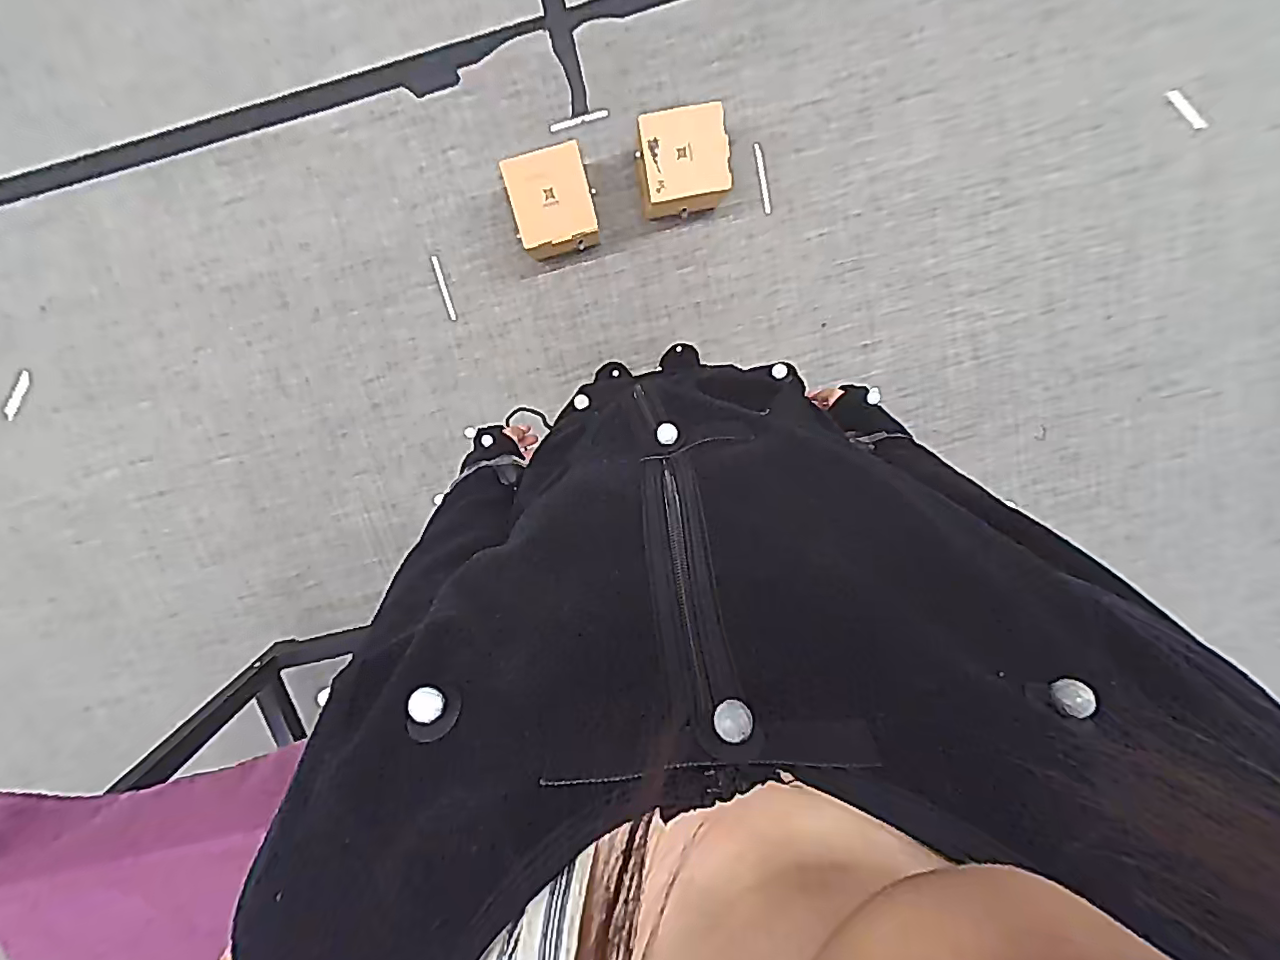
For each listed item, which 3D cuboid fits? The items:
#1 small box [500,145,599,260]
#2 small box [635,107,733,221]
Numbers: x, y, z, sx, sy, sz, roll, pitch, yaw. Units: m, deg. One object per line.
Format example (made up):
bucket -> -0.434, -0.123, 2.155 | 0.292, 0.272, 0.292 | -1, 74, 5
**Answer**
small box -> -0.189, -0.597, 1.191 | 0.168, 0.176, 0.179 | -16, 104, 0
small box -> 0.091, -0.682, 1.184 | 0.179, 0.176, 0.168 | -10, 105, -1
